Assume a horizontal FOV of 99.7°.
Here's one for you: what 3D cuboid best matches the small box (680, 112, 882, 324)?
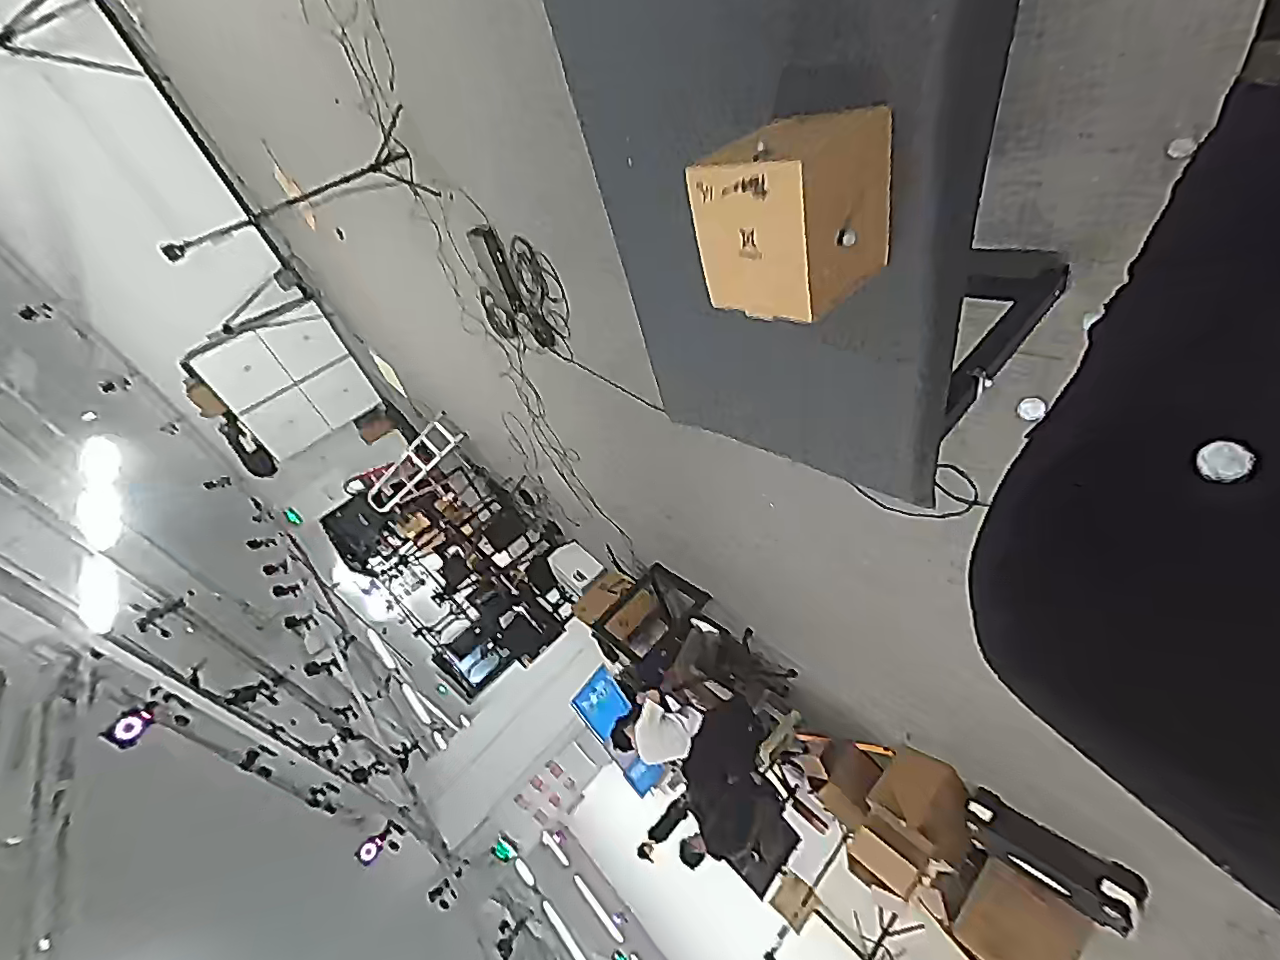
[{"bbox_3d":[0.180,-0.323,0.670,0.168,0.176,0.179,28,149,42],"label":"small box"}]
